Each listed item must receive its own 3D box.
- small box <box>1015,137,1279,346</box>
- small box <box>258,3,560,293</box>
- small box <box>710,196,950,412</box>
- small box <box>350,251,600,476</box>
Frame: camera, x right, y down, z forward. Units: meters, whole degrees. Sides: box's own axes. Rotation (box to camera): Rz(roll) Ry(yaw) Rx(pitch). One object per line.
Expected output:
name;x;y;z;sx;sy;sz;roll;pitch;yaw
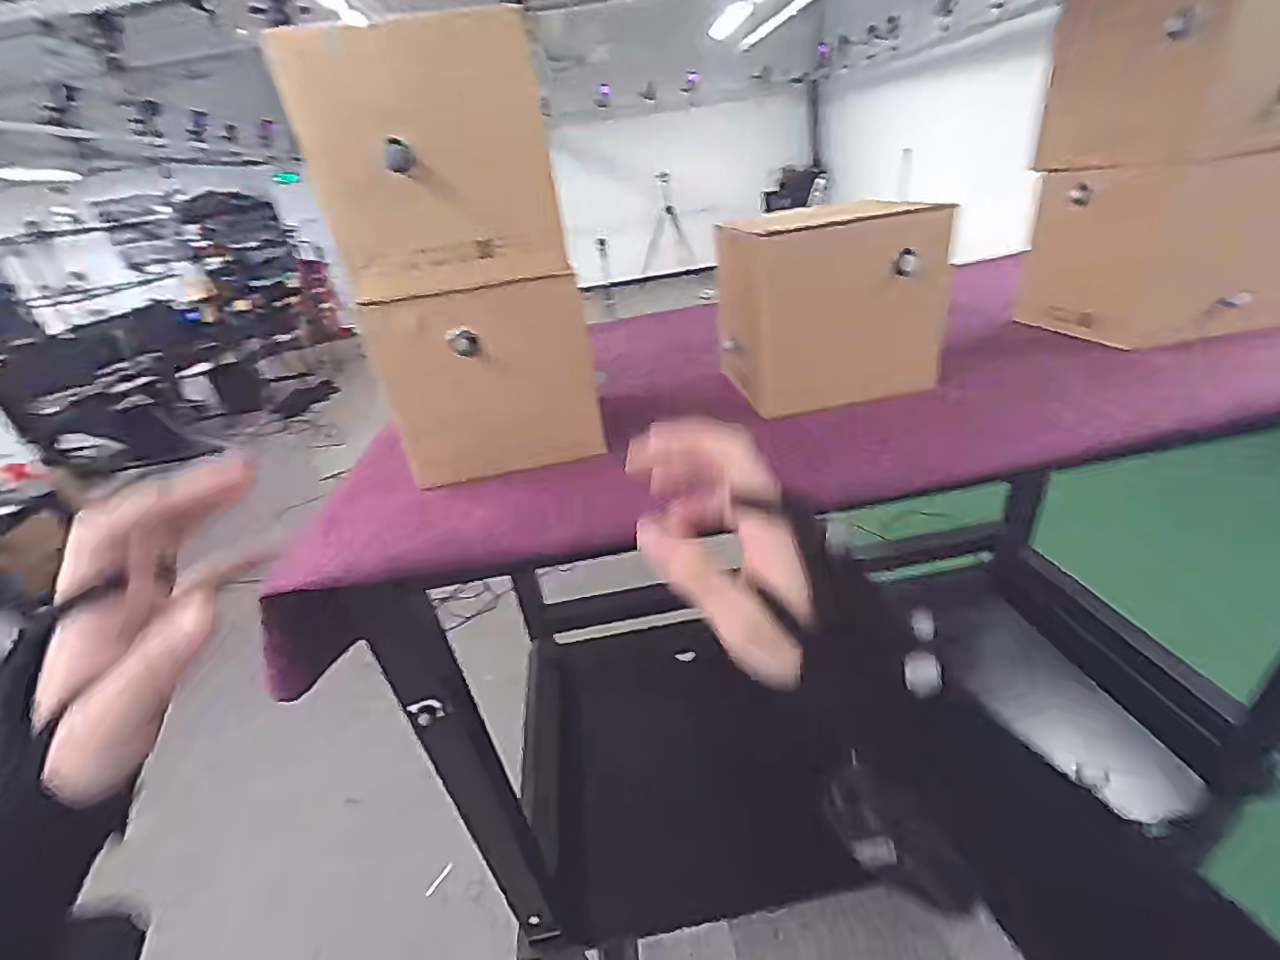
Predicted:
small box;0.545;-0.254;0.574;0.179;0.176;0.168;-11;28;-3
small box;-0.167;-0.262;0.459;0.168;0.176;0.179;-12;29;-5
small box;0.178;-0.186;0.559;0.179;0.176;0.168;-11;29;-2
small box;-0.145;-0.118;0.533;0.179;0.176;0.168;-11;30;-6
